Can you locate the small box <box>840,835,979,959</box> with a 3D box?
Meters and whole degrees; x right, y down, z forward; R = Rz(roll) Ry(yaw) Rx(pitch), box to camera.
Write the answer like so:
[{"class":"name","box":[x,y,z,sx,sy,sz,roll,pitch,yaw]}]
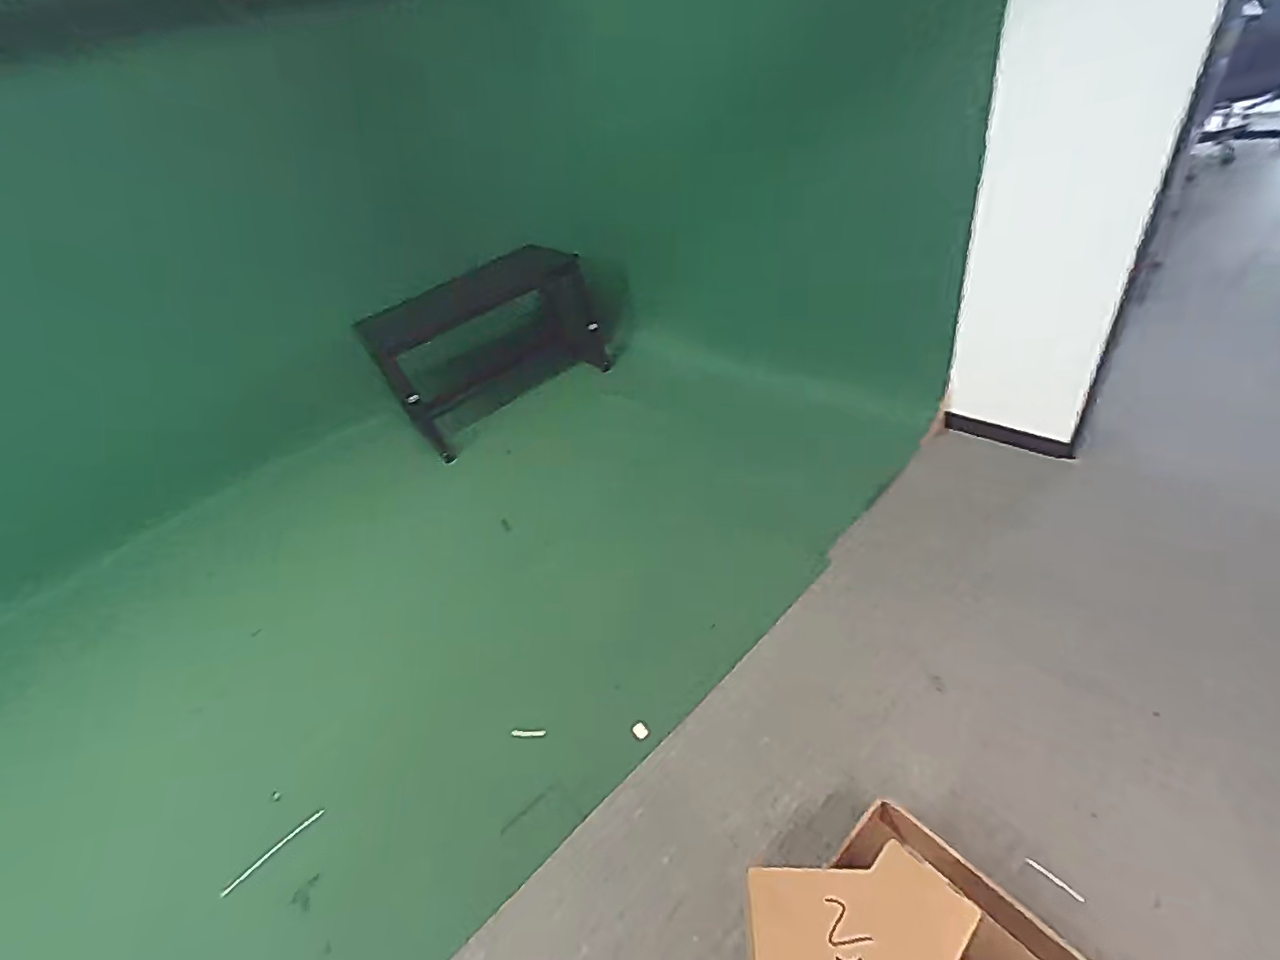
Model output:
[{"class":"small box","box":[0.484,0.812,0.994,0.179,0.176,0.168,-38,44,-24]}]
